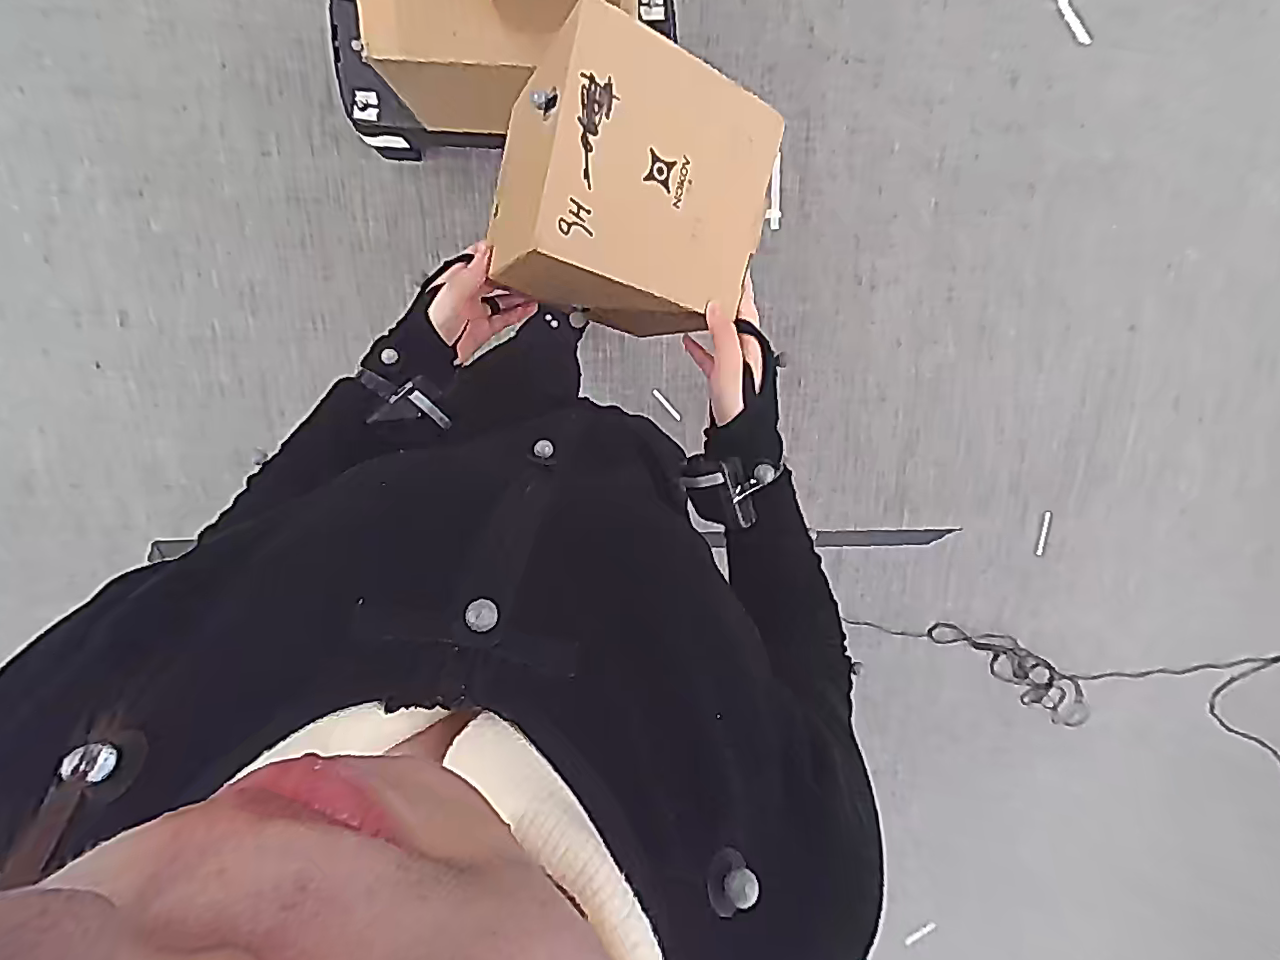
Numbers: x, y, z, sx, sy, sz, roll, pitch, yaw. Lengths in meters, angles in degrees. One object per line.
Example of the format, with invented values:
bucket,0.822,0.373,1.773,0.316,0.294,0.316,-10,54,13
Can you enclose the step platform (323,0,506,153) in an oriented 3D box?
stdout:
step platform,-0.278,-0.835,1.135,0.684,0.204,0.286,5,105,-5

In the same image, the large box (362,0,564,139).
large box,-0.206,-0.791,0.905,0.408,0.320,0.320,-1,104,-3

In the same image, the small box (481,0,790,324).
small box,-0.014,-0.236,0.448,0.179,0.176,0.168,11,94,-30

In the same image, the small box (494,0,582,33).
small box,-0.103,-0.701,0.682,0.179,0.176,0.168,0,106,-4
